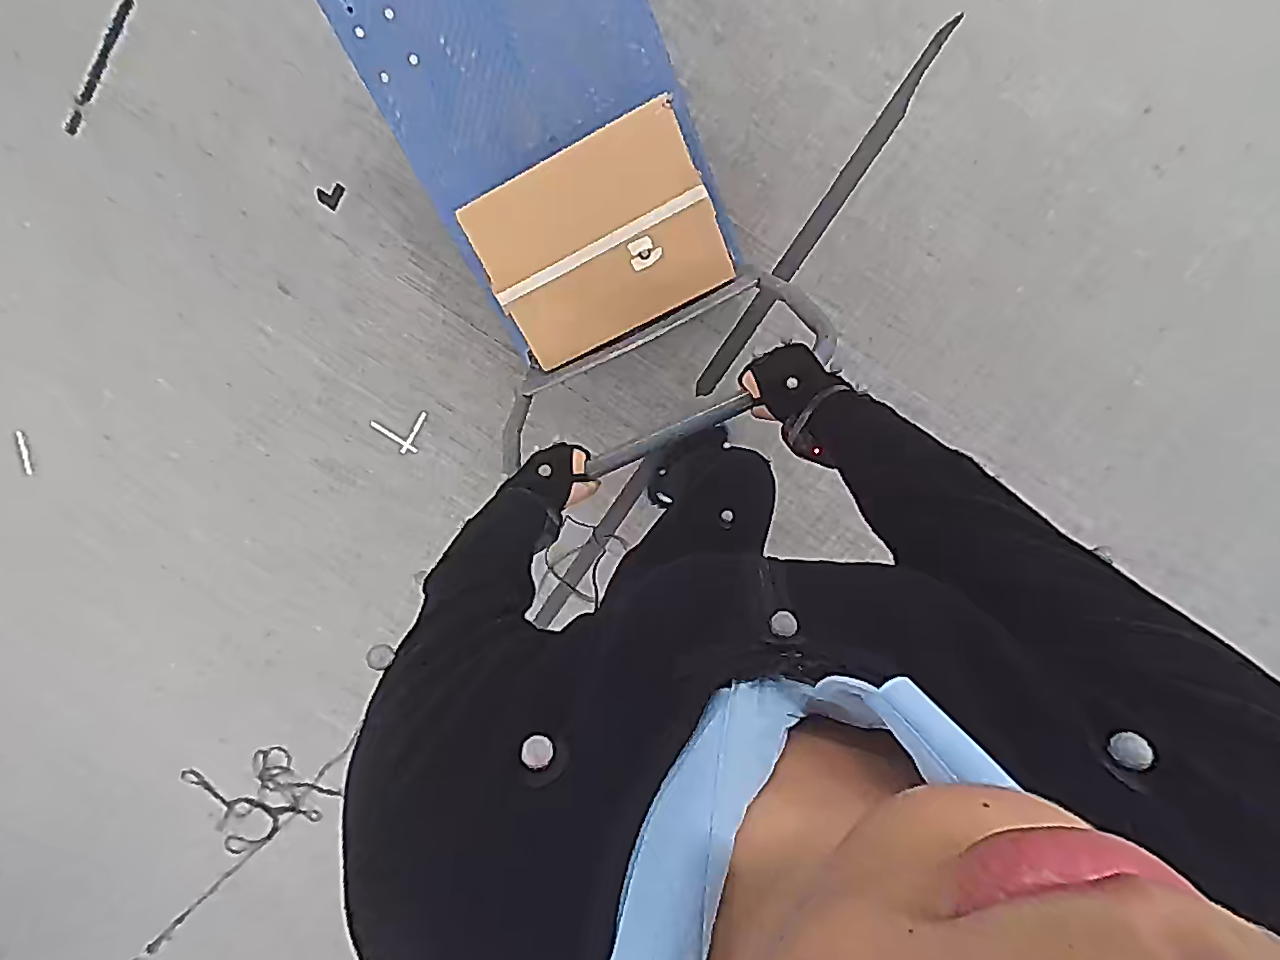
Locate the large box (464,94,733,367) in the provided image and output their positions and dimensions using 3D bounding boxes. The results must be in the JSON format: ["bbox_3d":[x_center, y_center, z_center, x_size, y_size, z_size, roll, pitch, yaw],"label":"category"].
[{"bbox_3d":[-0.077,-0.484,1.108,0.408,0.320,0.320,-26,113,8],"label":"large box"}]
